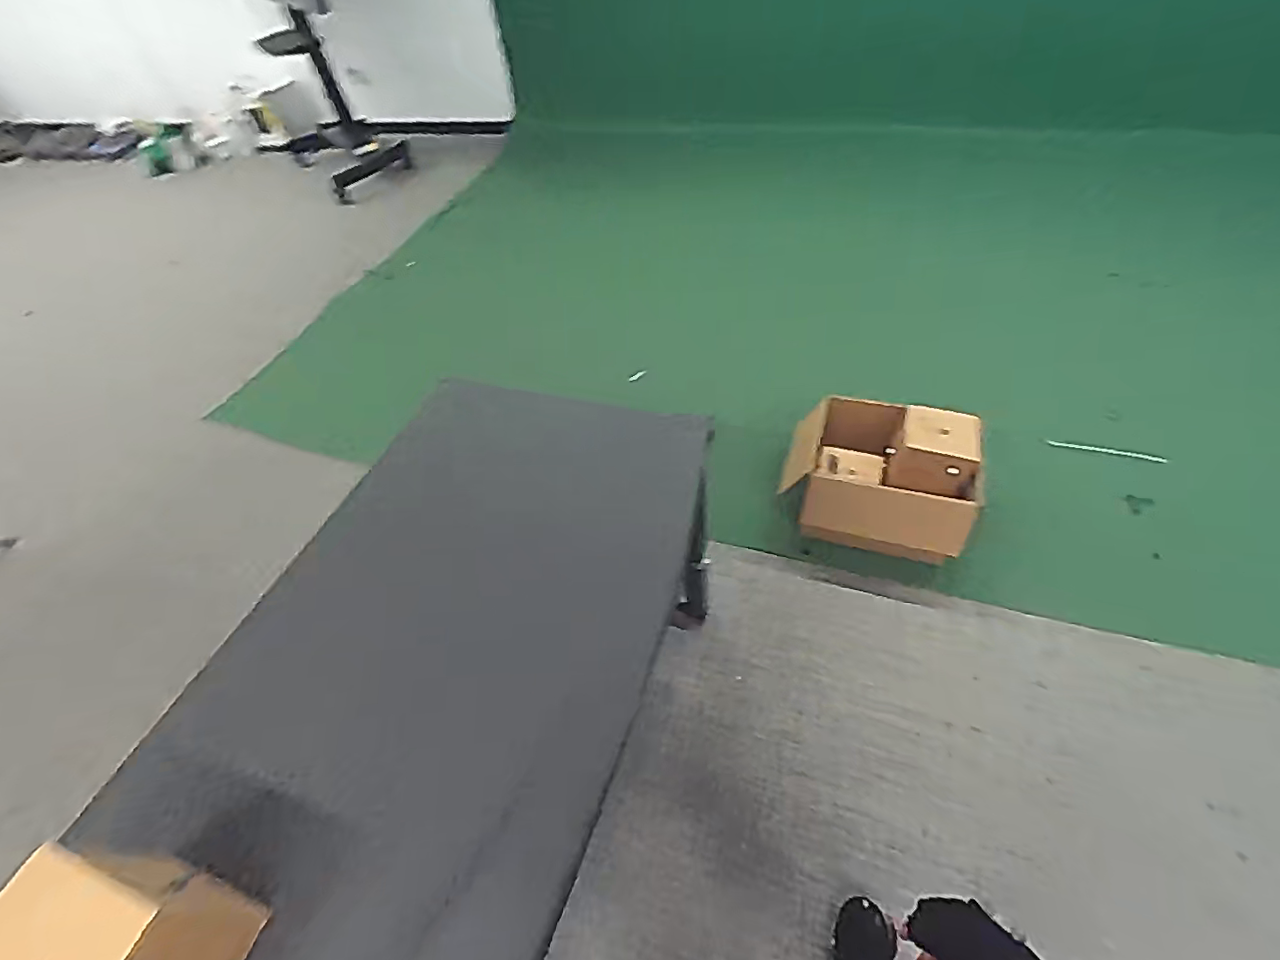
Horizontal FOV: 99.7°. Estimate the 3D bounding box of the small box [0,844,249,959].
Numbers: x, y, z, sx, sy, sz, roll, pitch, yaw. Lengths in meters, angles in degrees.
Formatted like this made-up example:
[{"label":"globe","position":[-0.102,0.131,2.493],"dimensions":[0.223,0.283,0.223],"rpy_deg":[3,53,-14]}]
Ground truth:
[{"label":"small box","position":[-0.532,0.486,0.523],"dimensions":[0.168,0.176,0.179],"rpy_deg":[11,55,15]}]
